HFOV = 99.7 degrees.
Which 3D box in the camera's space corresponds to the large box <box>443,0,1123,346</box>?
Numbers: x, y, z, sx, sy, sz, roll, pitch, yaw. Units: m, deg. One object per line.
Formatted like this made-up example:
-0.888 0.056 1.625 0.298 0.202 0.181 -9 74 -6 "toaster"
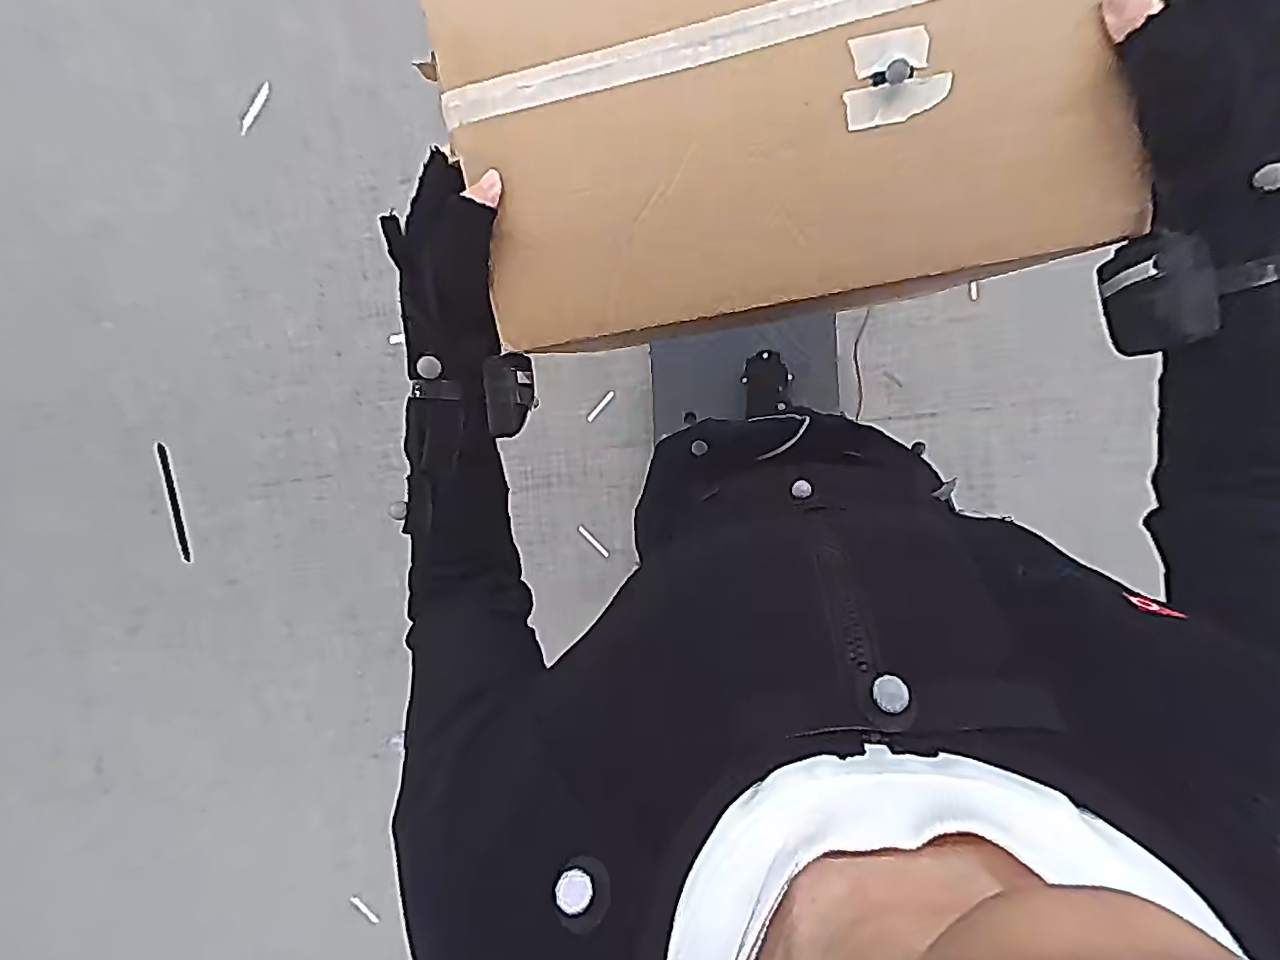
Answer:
0.093 -0.313 0.478 0.408 0.320 0.320 -9 103 9 "large box"
